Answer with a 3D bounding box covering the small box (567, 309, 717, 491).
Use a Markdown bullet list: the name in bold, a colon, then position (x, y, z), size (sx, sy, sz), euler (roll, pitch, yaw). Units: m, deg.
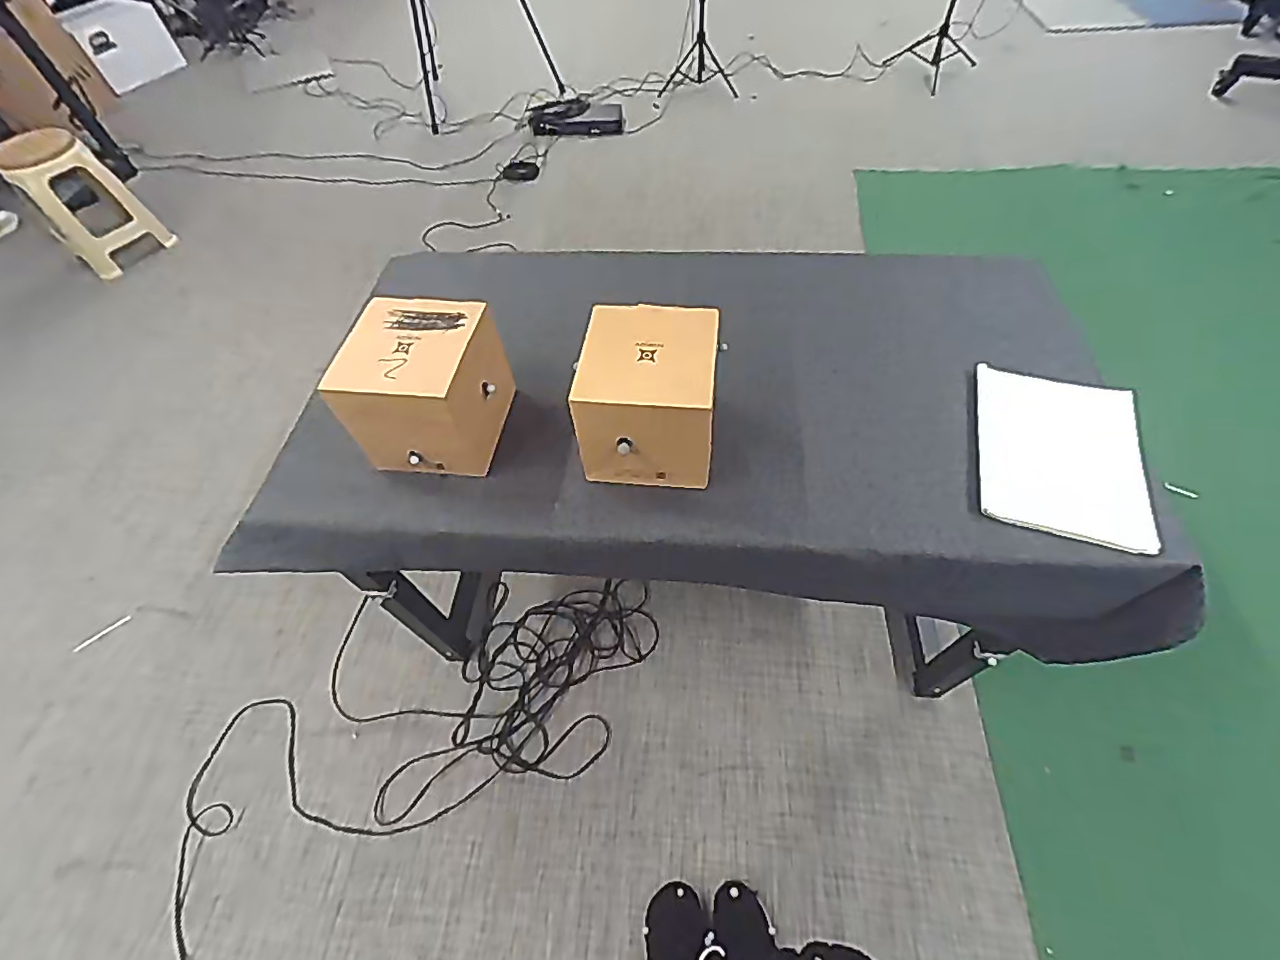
- **small box**: position (0.013, -0.101, 0.712), size (0.168, 0.176, 0.179), euler (4, 55, 7)
